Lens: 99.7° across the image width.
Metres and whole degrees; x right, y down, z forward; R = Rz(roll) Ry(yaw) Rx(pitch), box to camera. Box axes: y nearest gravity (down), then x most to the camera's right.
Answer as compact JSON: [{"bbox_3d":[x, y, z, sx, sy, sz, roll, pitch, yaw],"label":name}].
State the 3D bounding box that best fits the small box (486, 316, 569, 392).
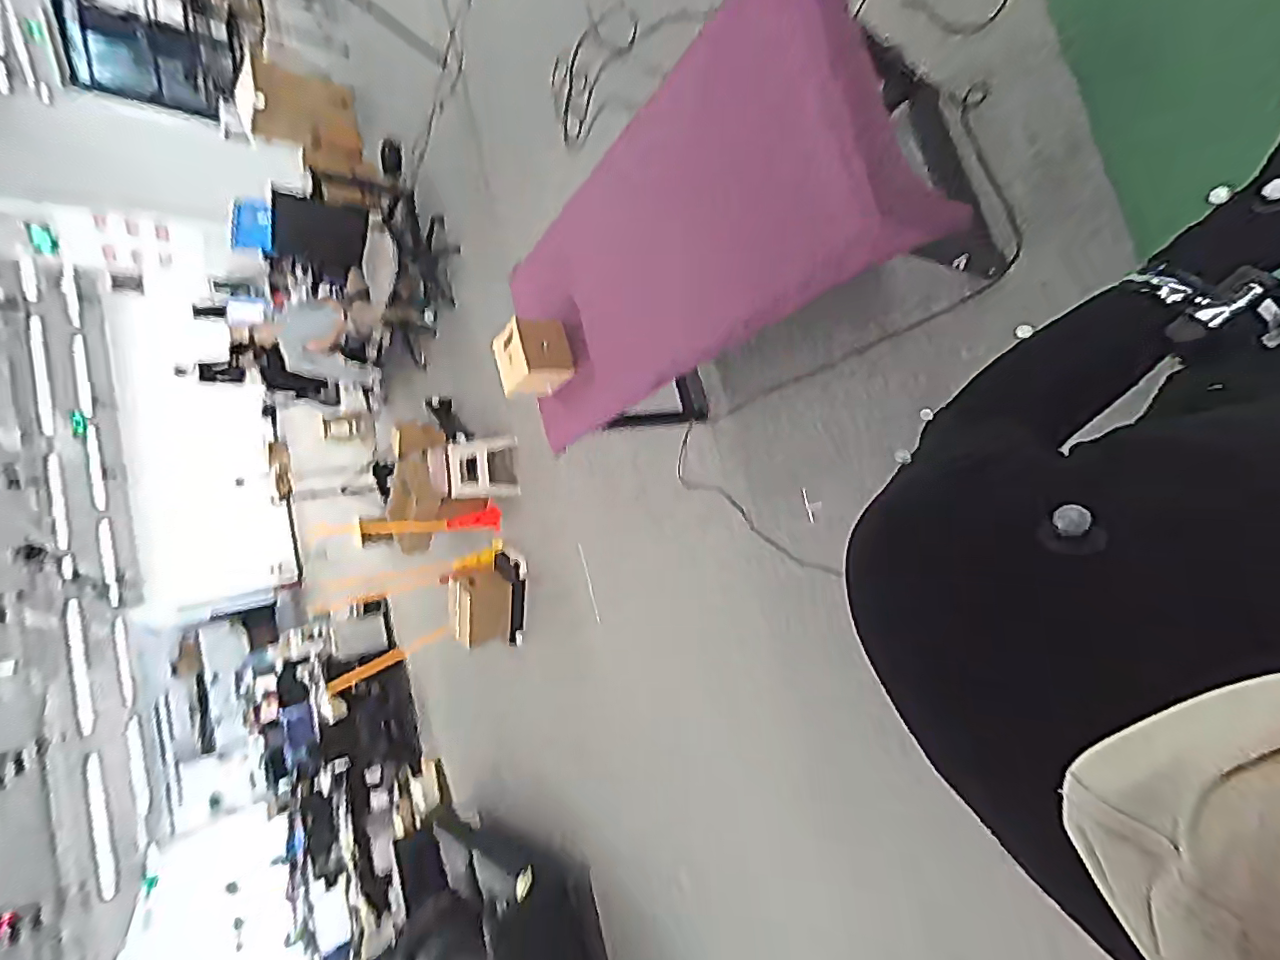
[{"bbox_3d":[-0.344,-0.378,1.653,0.168,0.176,0.179,-26,79,48],"label":"small box"}]
